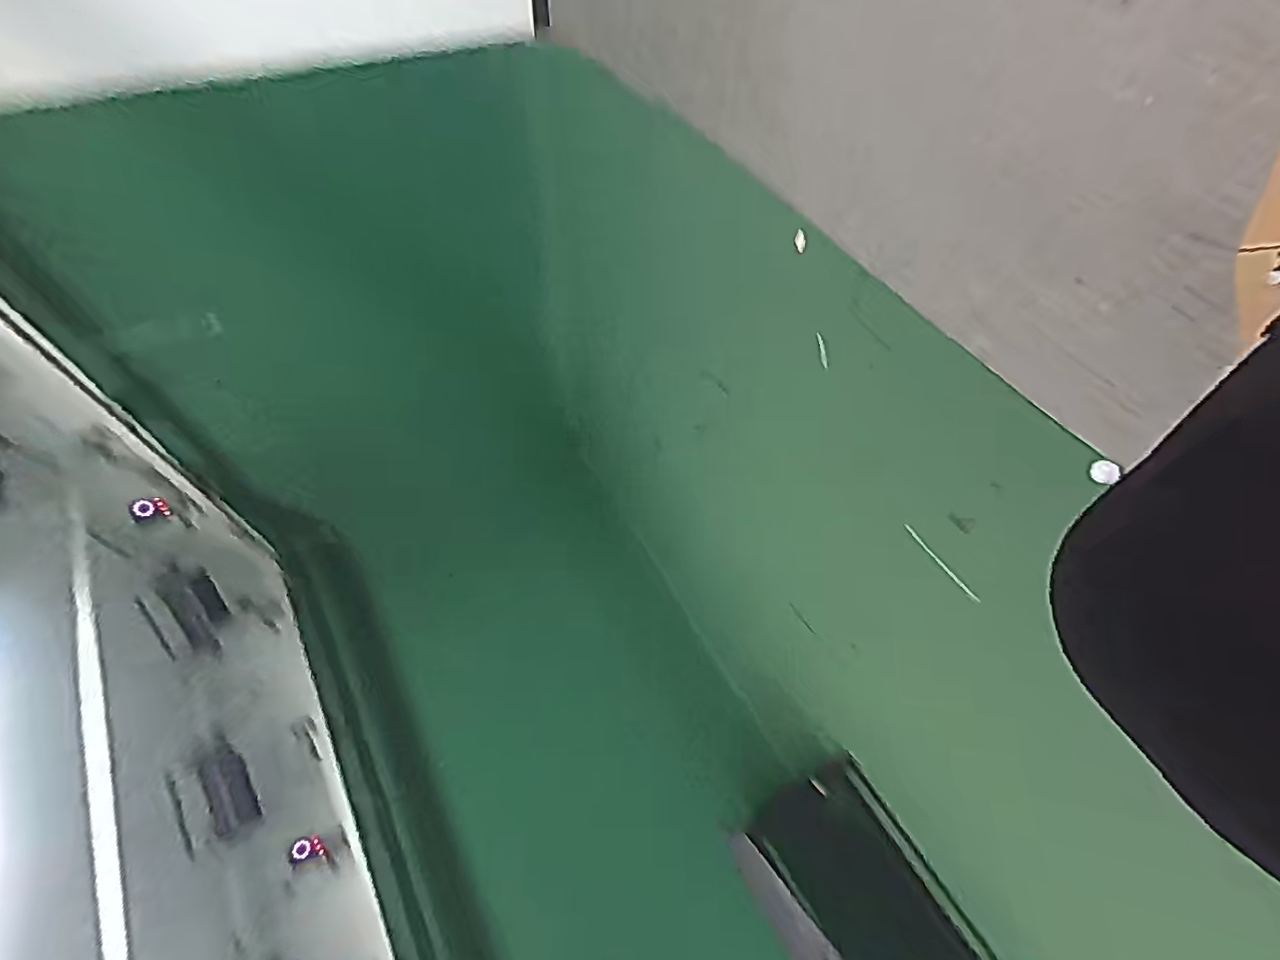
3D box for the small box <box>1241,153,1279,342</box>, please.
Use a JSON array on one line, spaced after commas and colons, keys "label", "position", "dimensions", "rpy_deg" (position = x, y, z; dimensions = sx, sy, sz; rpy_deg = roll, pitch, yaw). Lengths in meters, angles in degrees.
[{"label": "small box", "position": [0.714, -0.250, 0.510], "dimensions": [0.179, 0.176, 0.168], "rpy_deg": [31, 174, -37]}]
